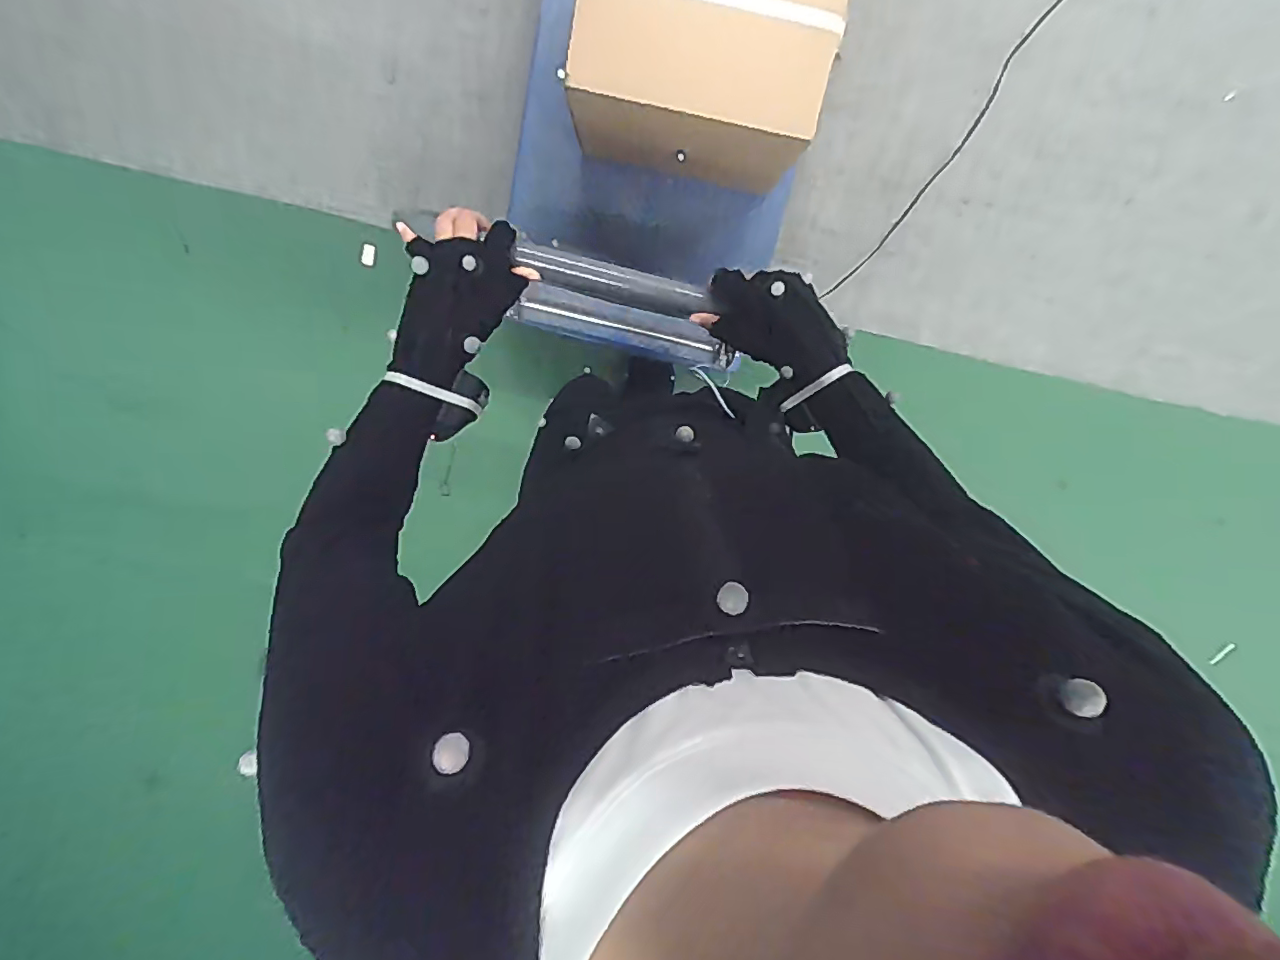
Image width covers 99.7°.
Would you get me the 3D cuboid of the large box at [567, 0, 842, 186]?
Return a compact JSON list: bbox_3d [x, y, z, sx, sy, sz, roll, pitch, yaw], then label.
[{"bbox_3d":[0.108,-0.763,0.963,0.408,0.320,0.320,11,103,-3],"label":"large box"}]
